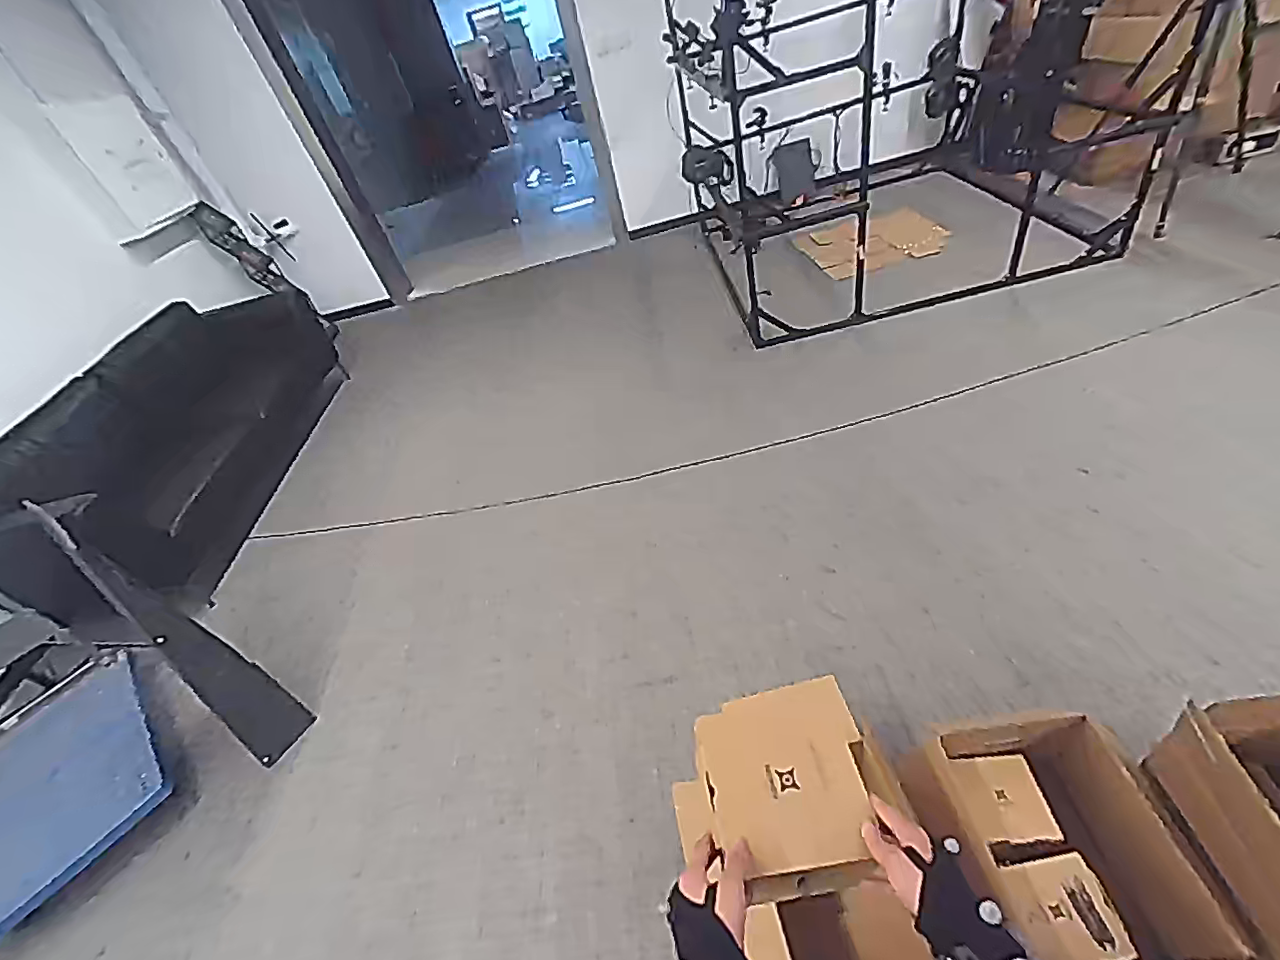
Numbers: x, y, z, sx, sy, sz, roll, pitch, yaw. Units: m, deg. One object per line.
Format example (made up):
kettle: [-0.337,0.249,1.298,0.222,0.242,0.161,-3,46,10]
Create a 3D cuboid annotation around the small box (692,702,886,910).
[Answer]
small box: [0.167,0.398,0.659,0.179,0.176,0.168,-9,44,-1]
